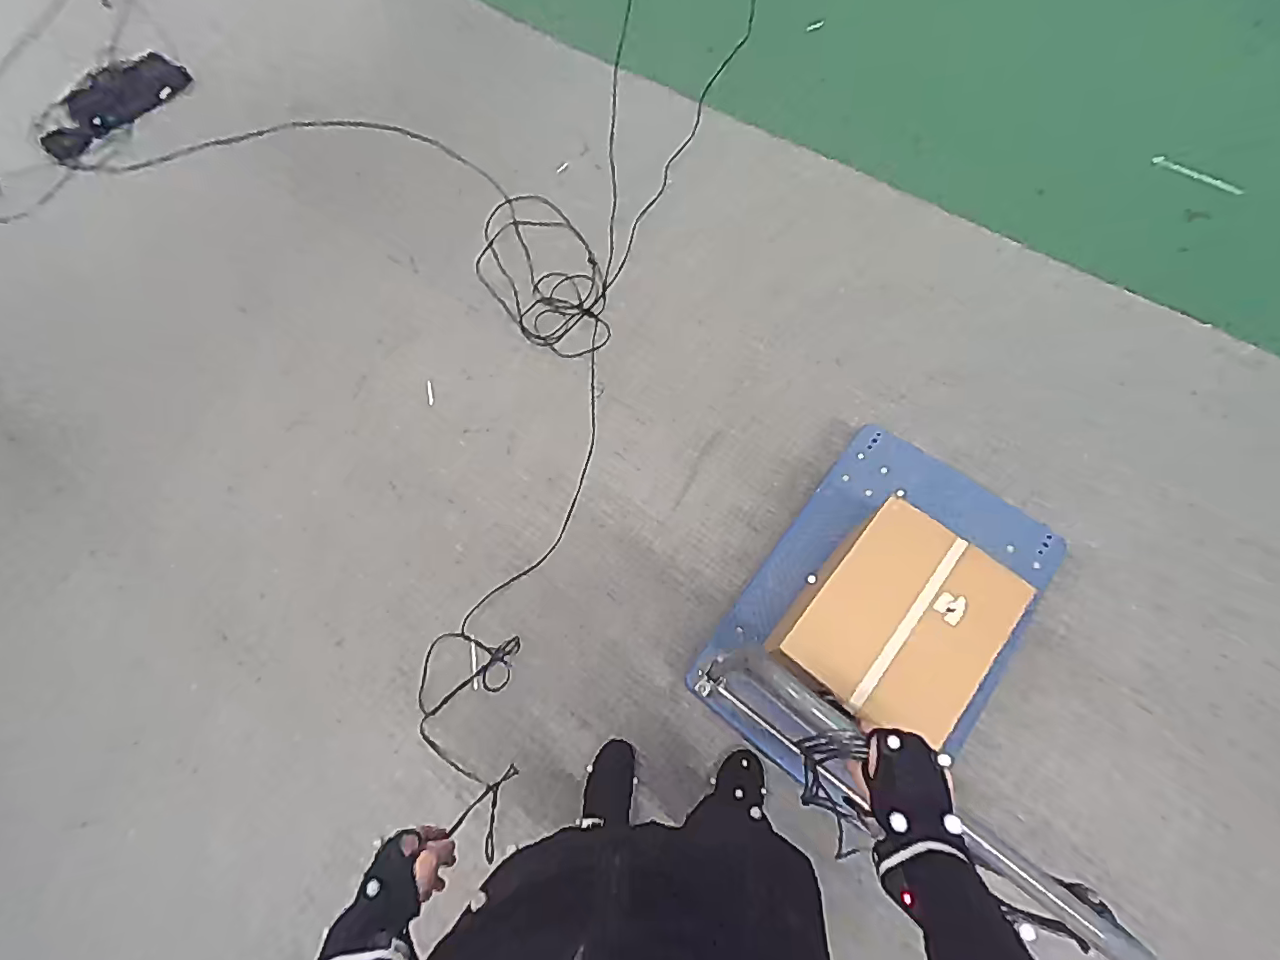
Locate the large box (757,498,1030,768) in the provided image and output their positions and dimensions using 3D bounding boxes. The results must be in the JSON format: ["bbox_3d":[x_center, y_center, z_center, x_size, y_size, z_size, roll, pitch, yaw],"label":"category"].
[{"bbox_3d":[0.505,0.321,1.148,0.320,0.320,0.408,38,74,15],"label":"large box"}]
